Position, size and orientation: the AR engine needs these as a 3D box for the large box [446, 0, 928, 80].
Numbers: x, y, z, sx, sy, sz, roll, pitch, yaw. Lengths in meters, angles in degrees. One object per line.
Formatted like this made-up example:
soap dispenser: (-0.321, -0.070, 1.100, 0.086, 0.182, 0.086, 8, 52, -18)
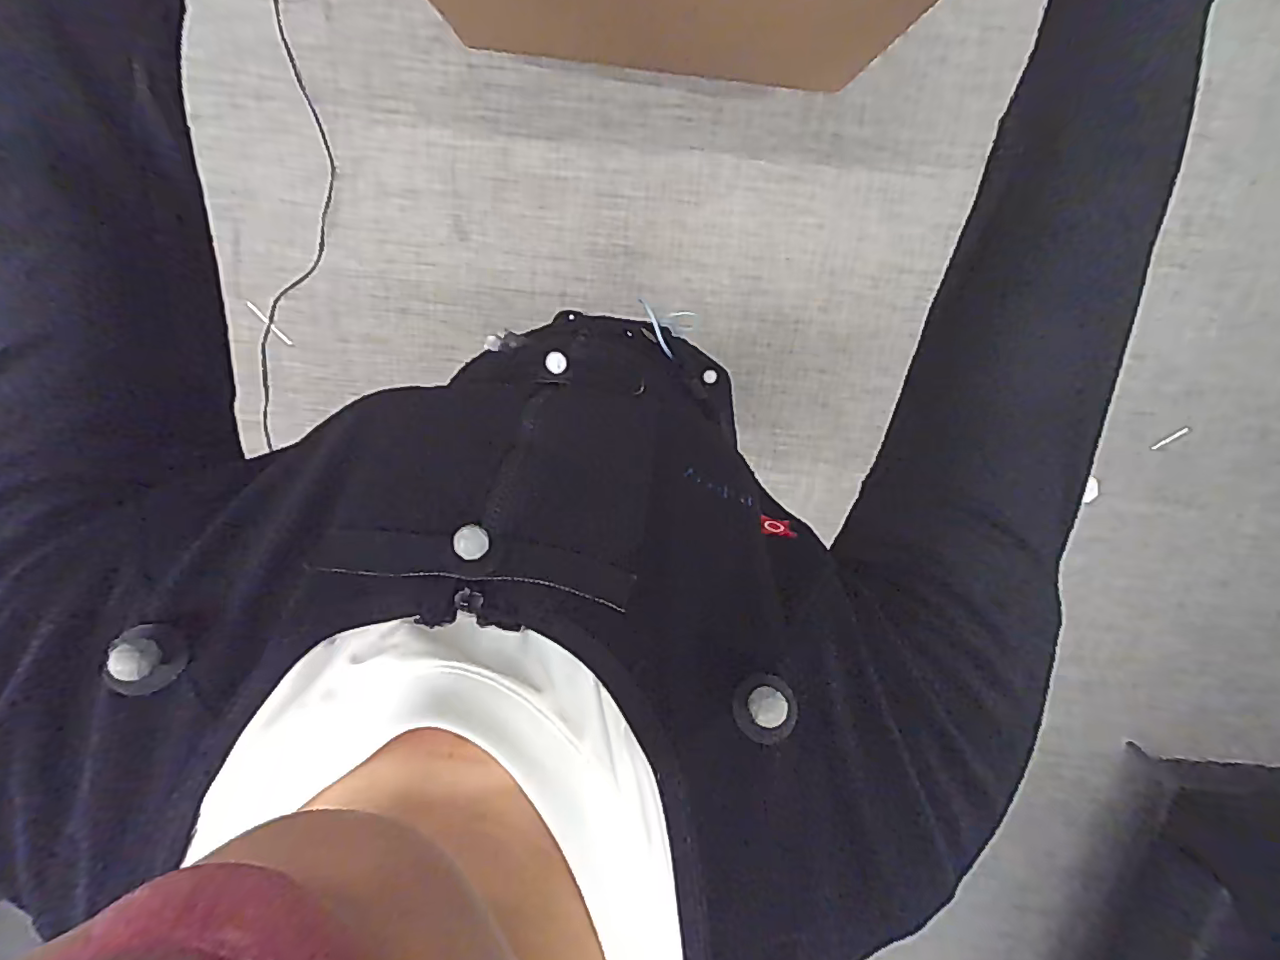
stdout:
large box: (0.035, -0.528, 0.382, 0.408, 0.320, 0.320, 5, 112, -2)
